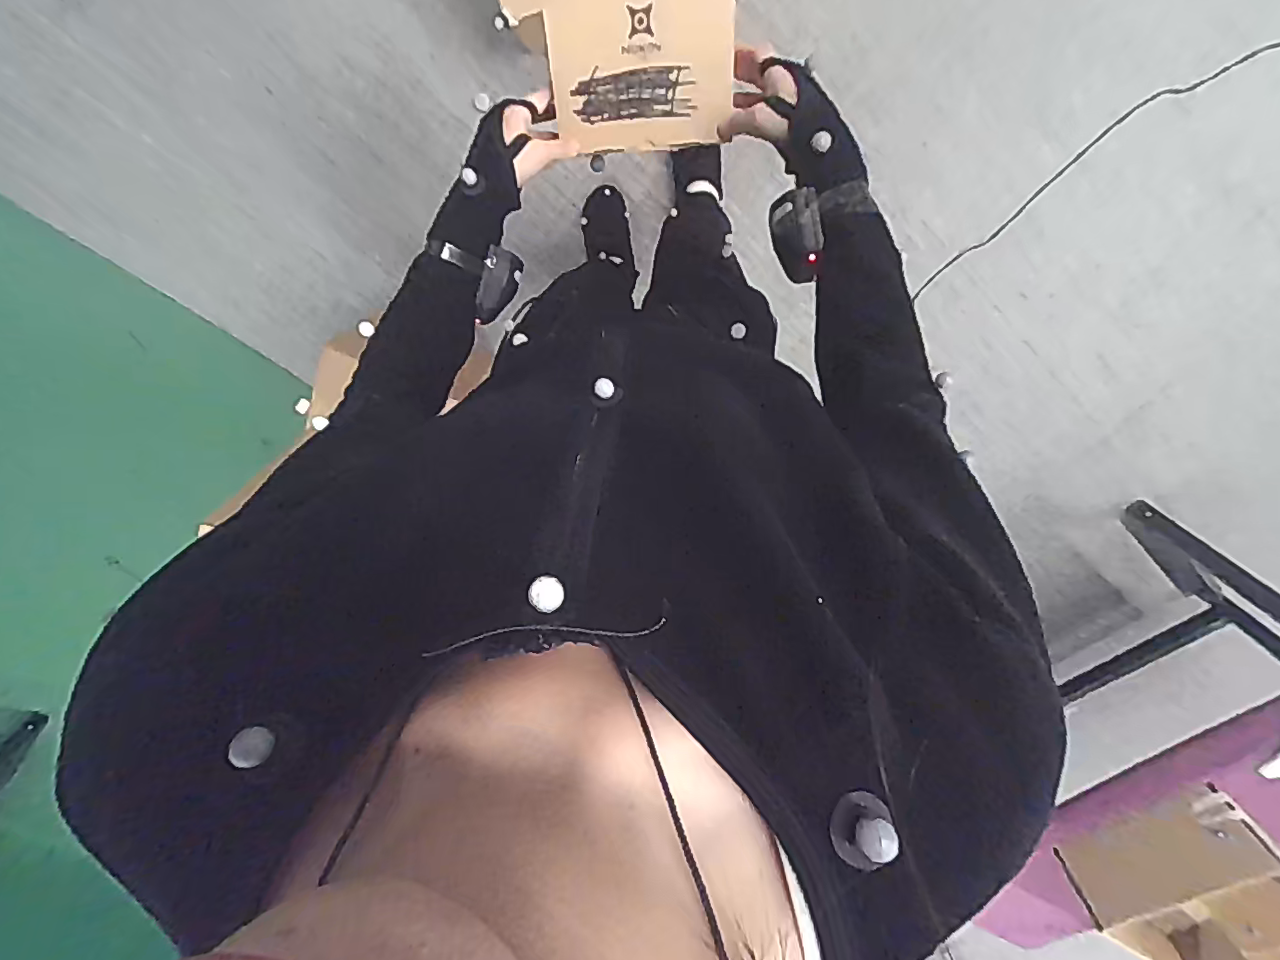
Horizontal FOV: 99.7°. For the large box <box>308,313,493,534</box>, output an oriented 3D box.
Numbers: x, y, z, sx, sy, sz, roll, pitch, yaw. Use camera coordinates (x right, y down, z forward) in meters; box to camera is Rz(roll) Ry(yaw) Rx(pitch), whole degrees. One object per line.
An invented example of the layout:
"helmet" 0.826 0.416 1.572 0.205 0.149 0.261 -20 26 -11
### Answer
"large box" -0.606 -0.146 1.375 0.320 0.320 0.408 23 119 -13
